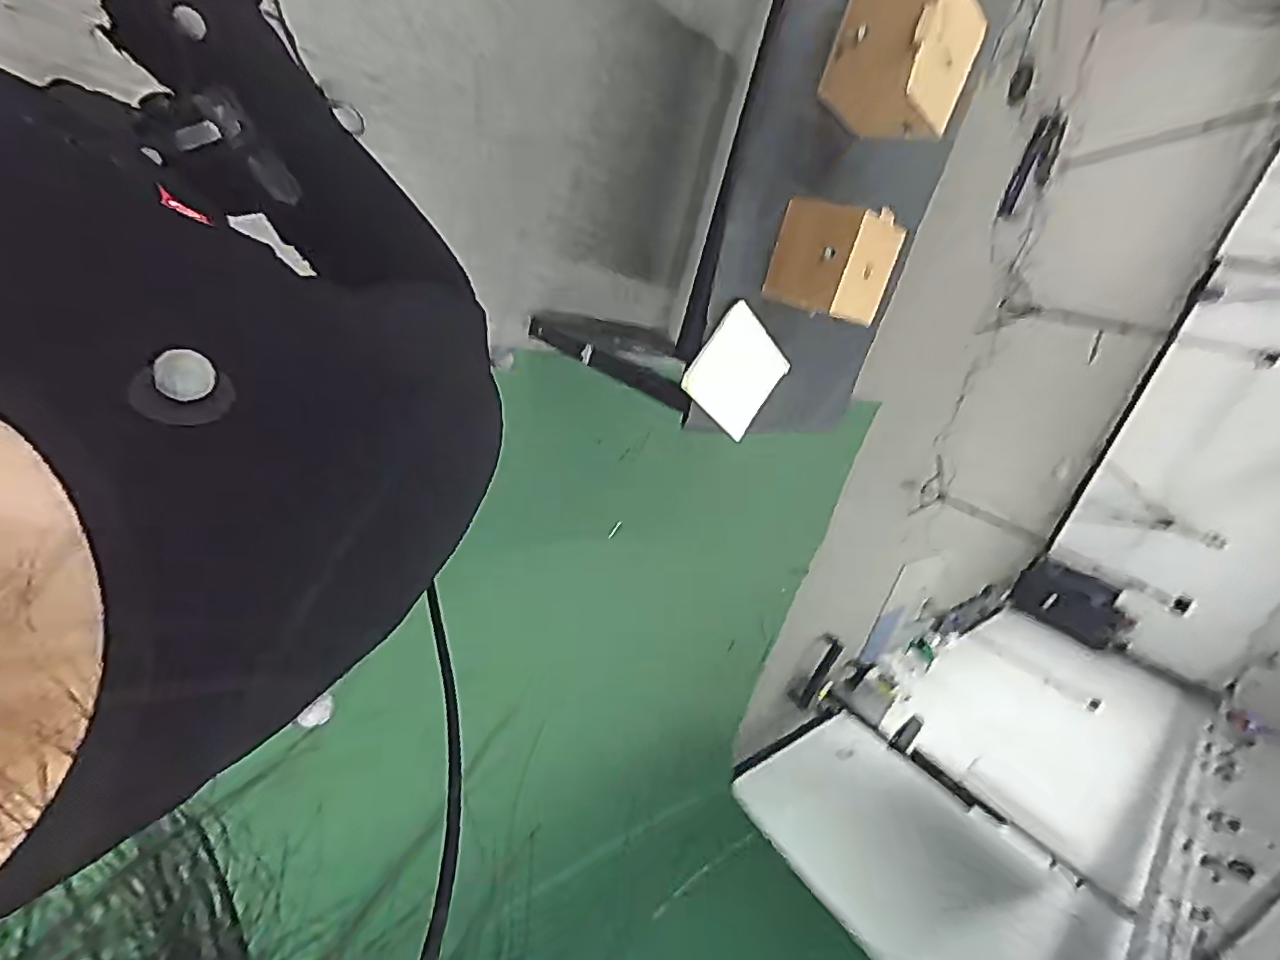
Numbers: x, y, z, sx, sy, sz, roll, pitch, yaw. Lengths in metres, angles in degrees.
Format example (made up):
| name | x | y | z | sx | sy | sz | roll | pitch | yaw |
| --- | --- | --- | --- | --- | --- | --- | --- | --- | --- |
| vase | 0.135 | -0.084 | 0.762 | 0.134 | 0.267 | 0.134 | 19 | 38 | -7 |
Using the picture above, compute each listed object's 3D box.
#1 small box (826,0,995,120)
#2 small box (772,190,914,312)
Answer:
| name | x | y | z | sx | sy | sz | roll | pitch | yaw |
| --- | --- | --- | --- | --- | --- | --- | --- | --- | --- |
| small box | 0.451 | -0.736 | 0.912 | 0.179 | 0.176 | 0.168 | 0 | 114 | -42 |
| small box | 0.380 | -0.438 | 1.038 | 0.168 | 0.176 | 0.179 | -5 | 117 | -41 |
